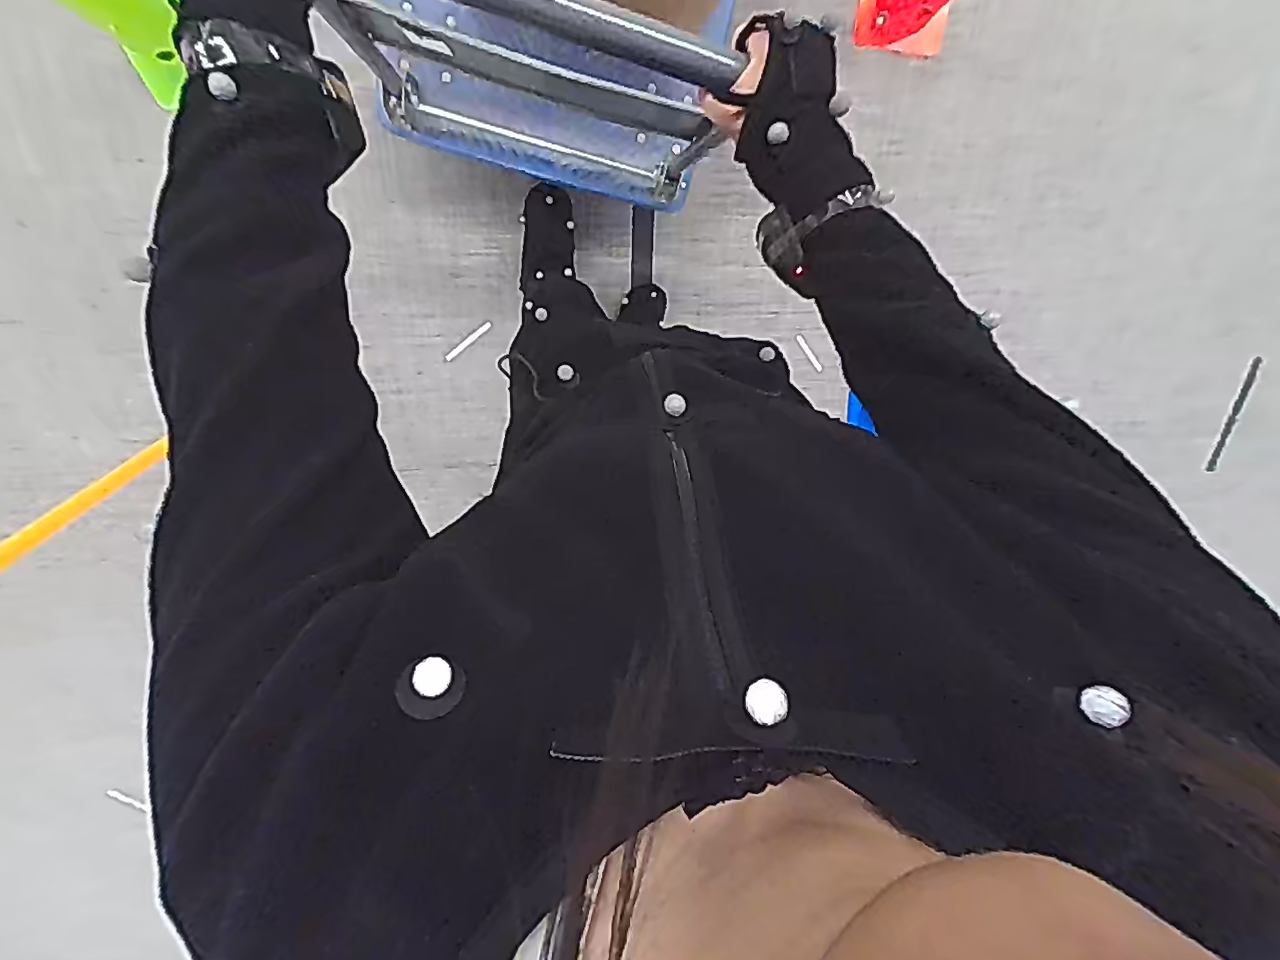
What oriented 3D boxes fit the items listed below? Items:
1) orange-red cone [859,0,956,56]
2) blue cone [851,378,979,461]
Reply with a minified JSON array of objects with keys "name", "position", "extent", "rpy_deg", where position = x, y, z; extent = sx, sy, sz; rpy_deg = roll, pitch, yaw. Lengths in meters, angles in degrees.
[{"name":"orange-red cone","position":[0.584,-0.933,0.953],"extent":[0.199,0.360,0.198],"rpy_deg":[3,114,-10]},{"name":"blue cone","position":[0.697,-0.119,1.346],"extent":[0.193,0.380,0.192],"rpy_deg":[-6,113,-6]}]
